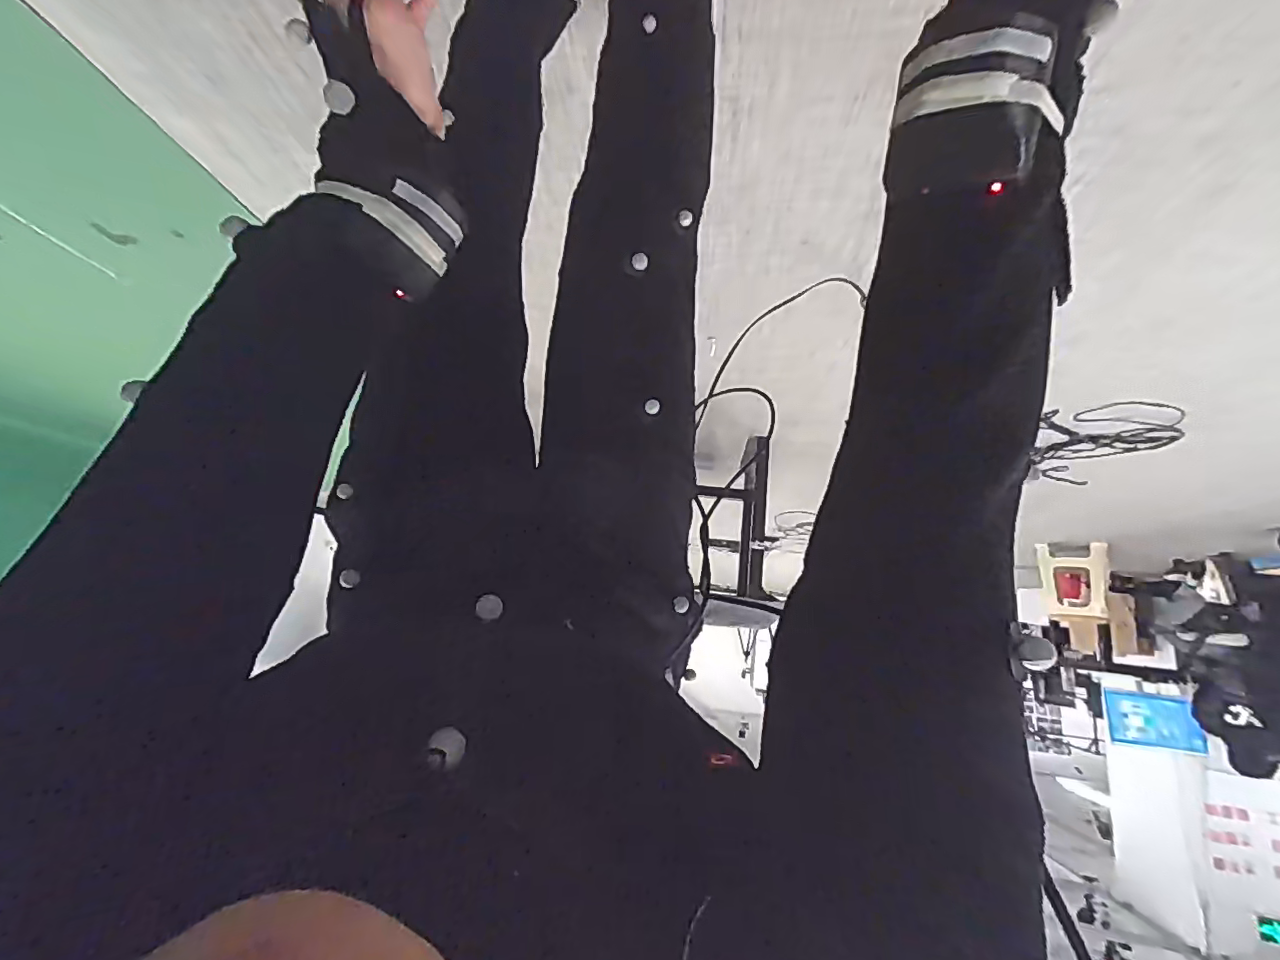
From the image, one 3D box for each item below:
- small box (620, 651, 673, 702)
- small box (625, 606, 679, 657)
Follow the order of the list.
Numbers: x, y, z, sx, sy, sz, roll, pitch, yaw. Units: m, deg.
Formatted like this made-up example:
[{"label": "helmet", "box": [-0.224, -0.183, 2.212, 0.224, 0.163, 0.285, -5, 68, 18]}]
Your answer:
[{"label": "small box", "box": [0.032, 0.753, 2.104, 0.179, 0.176, 0.168, 5, 165, 12]}, {"label": "small box", "box": [0.052, 0.593, 2.126, 0.168, 0.176, 0.179, 3, 166, 16]}]
